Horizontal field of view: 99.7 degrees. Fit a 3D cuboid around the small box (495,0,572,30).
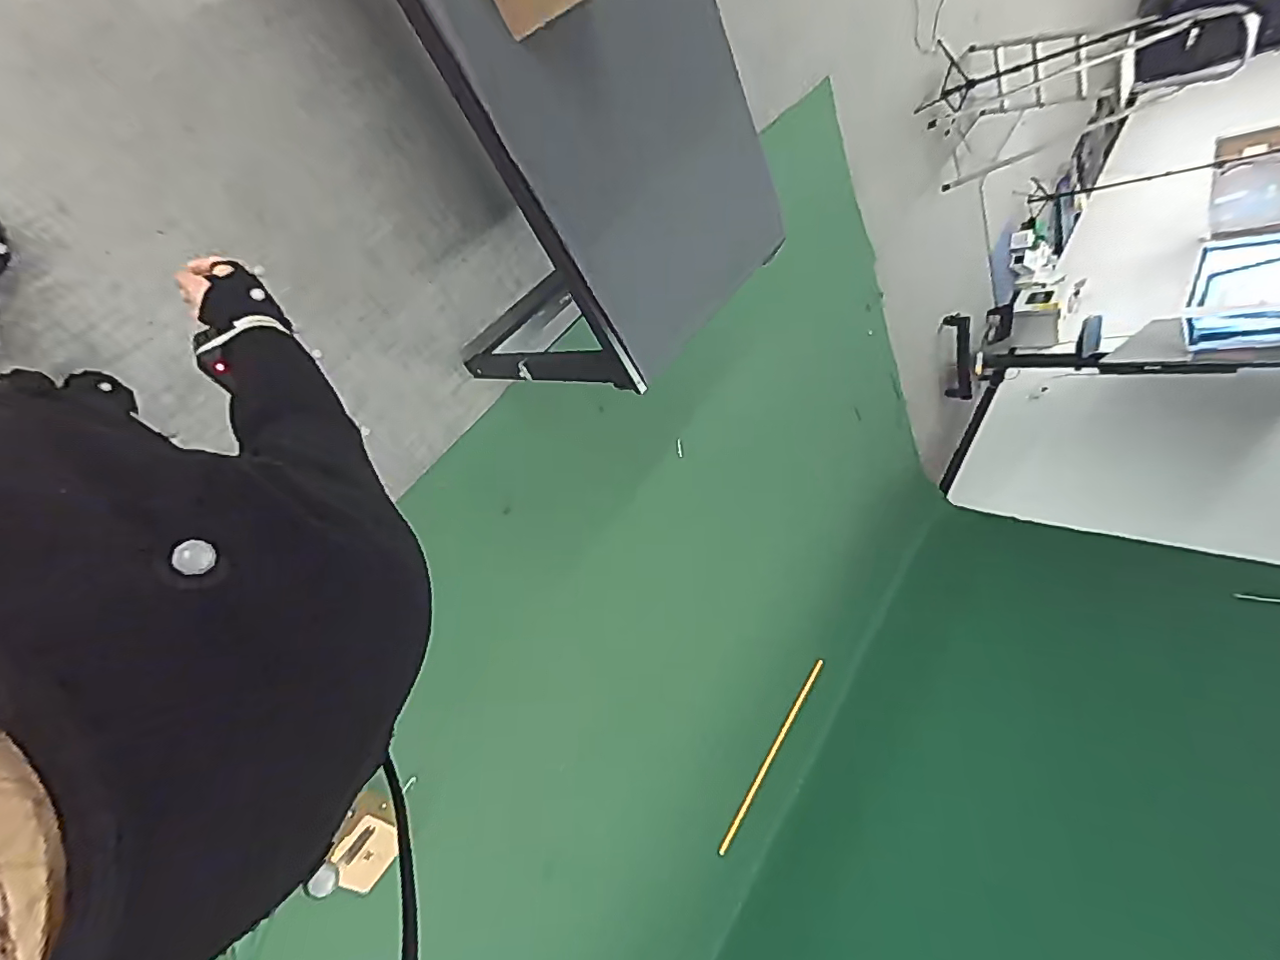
[{"bbox_3d":[-0.114,-0.742,0.703,0.179,0.176,0.168,-52,129,-23],"label":"small box"}]
